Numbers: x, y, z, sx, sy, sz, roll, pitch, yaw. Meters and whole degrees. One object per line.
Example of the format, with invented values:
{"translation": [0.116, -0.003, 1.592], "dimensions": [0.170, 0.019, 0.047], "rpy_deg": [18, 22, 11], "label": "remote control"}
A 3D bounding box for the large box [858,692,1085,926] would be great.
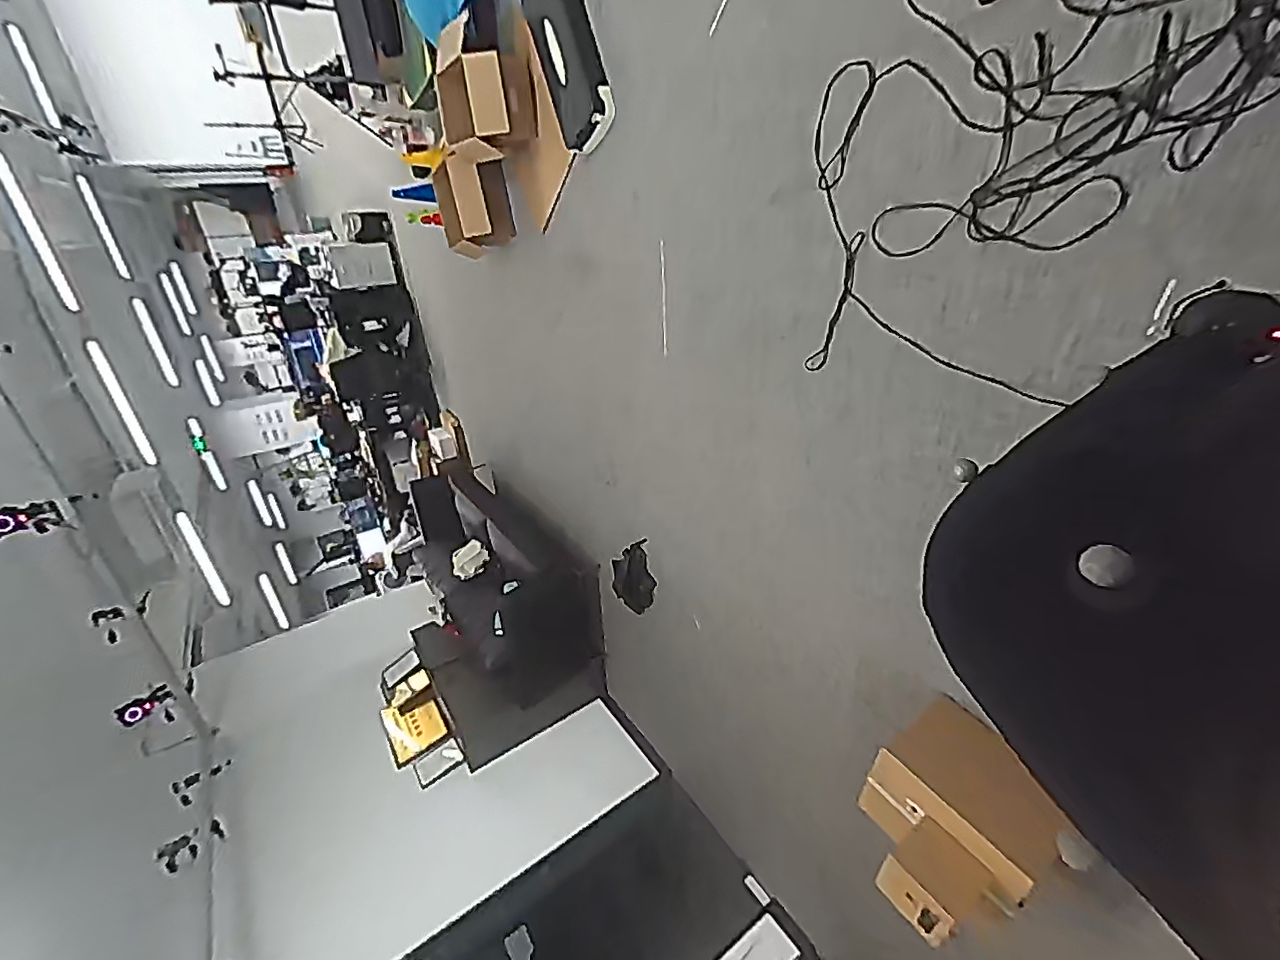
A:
{"translation": [0.911, 0.902, 1.527], "dimensions": [0.408, 0.320, 0.320], "rpy_deg": [40, 138, 44], "label": "large box"}
